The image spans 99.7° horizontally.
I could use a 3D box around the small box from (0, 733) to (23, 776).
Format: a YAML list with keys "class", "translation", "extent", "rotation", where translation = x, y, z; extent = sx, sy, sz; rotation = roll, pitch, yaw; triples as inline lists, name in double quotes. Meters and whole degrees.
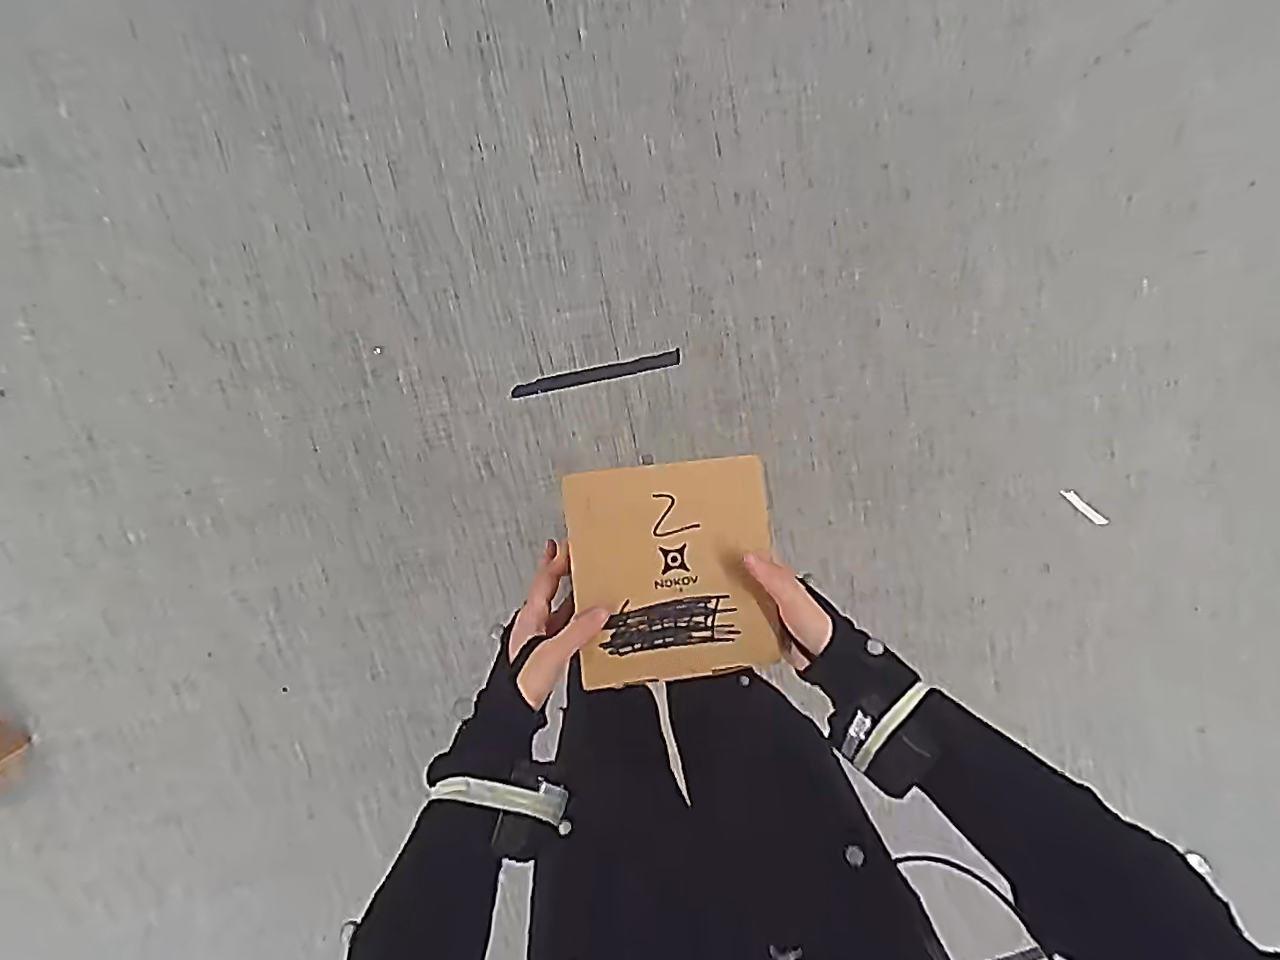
- class: "small box"
  translation: [-1.363, 0.566, 1.020]
  extent: [0.179, 0.176, 0.168]
  rotation: [41, 91, -11]
